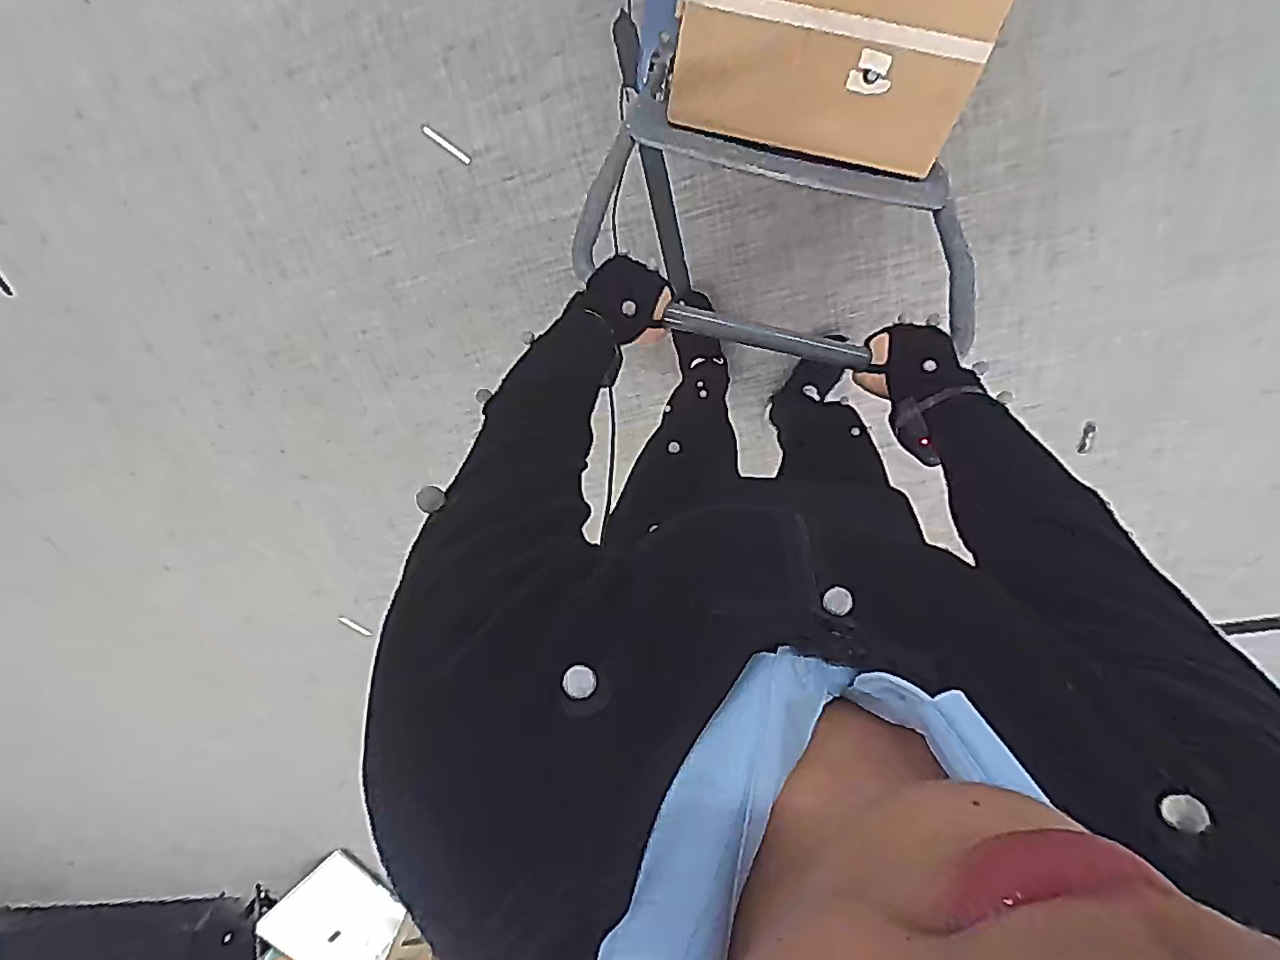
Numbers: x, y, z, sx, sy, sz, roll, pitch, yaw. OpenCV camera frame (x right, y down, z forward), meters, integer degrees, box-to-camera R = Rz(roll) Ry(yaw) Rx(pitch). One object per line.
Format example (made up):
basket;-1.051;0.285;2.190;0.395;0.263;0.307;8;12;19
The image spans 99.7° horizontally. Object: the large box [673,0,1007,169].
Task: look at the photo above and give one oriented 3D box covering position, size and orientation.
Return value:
large box;0.283;-0.722;0.813;0.408;0.320;0.320;12;140;0
